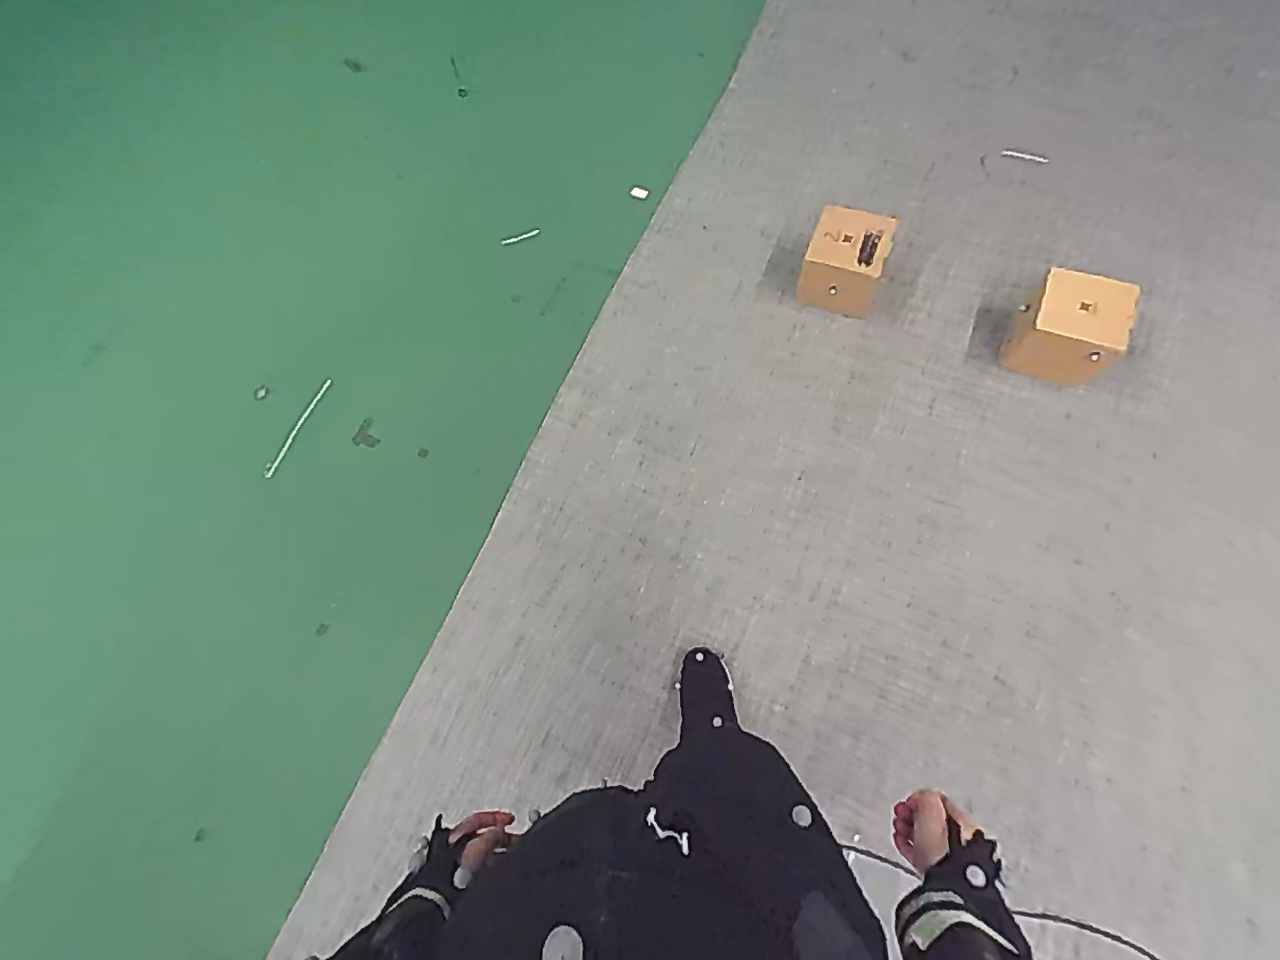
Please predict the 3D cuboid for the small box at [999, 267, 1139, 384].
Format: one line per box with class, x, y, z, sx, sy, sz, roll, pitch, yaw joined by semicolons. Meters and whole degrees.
small box;0.943;-0.336;1.204;0.179;0.176;0.168;20;77;13
